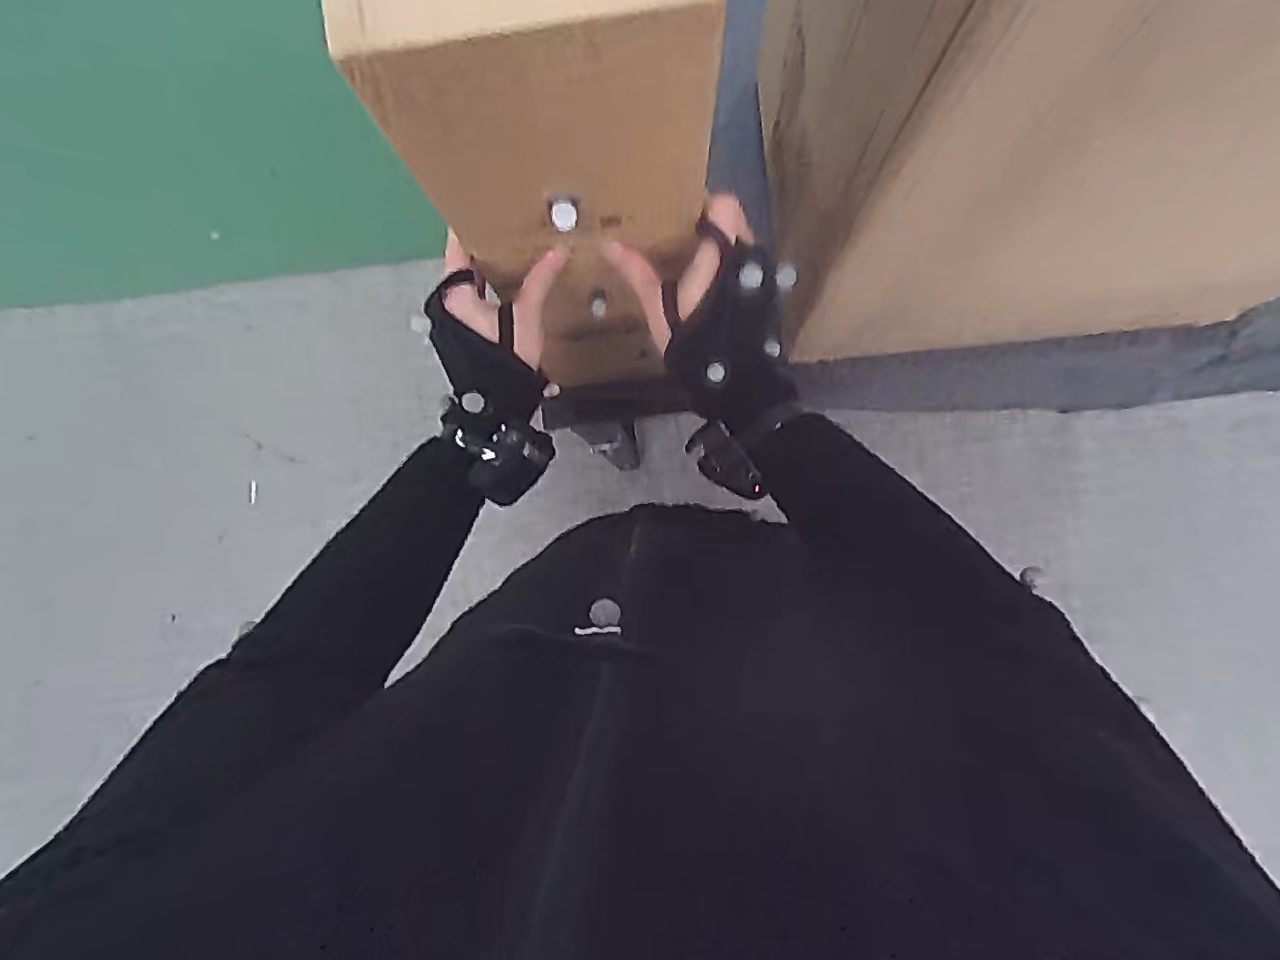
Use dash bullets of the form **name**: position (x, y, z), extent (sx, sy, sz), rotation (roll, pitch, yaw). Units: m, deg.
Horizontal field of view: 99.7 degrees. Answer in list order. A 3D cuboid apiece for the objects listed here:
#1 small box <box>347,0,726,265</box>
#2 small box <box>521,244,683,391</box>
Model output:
- **small box**: position (-0.050, -0.258, 0.321), extent (0.168, 0.176, 0.179), rotation (-7, 84, 2)
- **small box**: position (-0.039, -0.213, 0.646), extent (0.168, 0.176, 0.179), rotation (-7, 82, 1)
